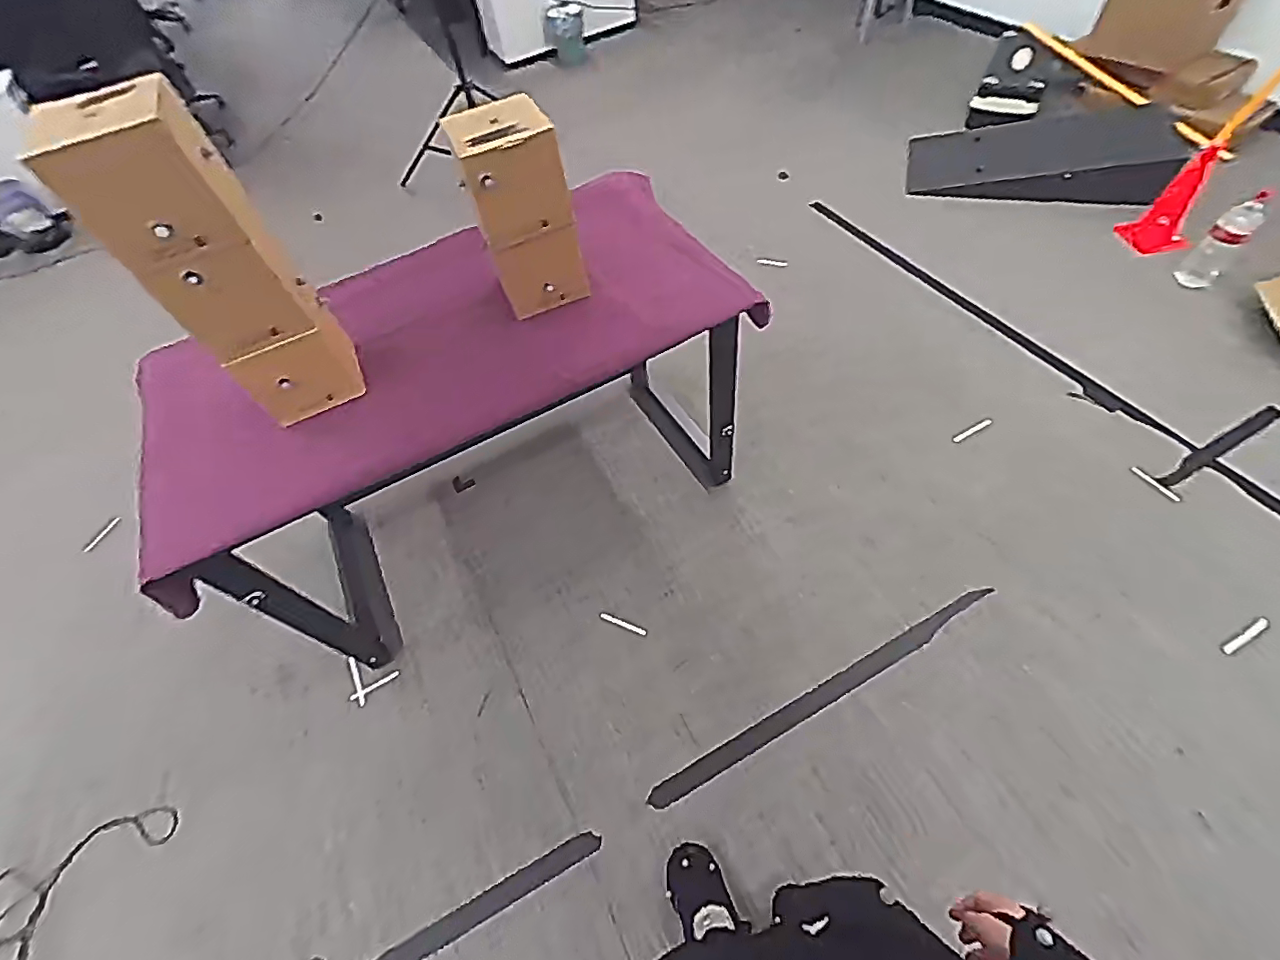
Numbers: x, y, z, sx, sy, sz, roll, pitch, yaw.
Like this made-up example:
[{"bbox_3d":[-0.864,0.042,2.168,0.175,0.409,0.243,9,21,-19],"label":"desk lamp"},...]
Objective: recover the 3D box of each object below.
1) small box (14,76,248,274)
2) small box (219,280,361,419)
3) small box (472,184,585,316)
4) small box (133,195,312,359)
[{"bbox_3d":[-0.694,-0.426,0.762,0.168,0.176,0.179,-26,58,-10],"label":"small box"},{"bbox_3d":[-0.661,-0.240,1.031,0.168,0.176,0.179,-26,57,-10],"label":"small box"},{"bbox_3d":[-0.229,-0.477,1.133,0.168,0.176,0.179,-23,57,-7],"label":"small box"},{"bbox_3d":[-0.682,-0.334,0.899,0.168,0.176,0.179,-27,57,-10],"label":"small box"}]
